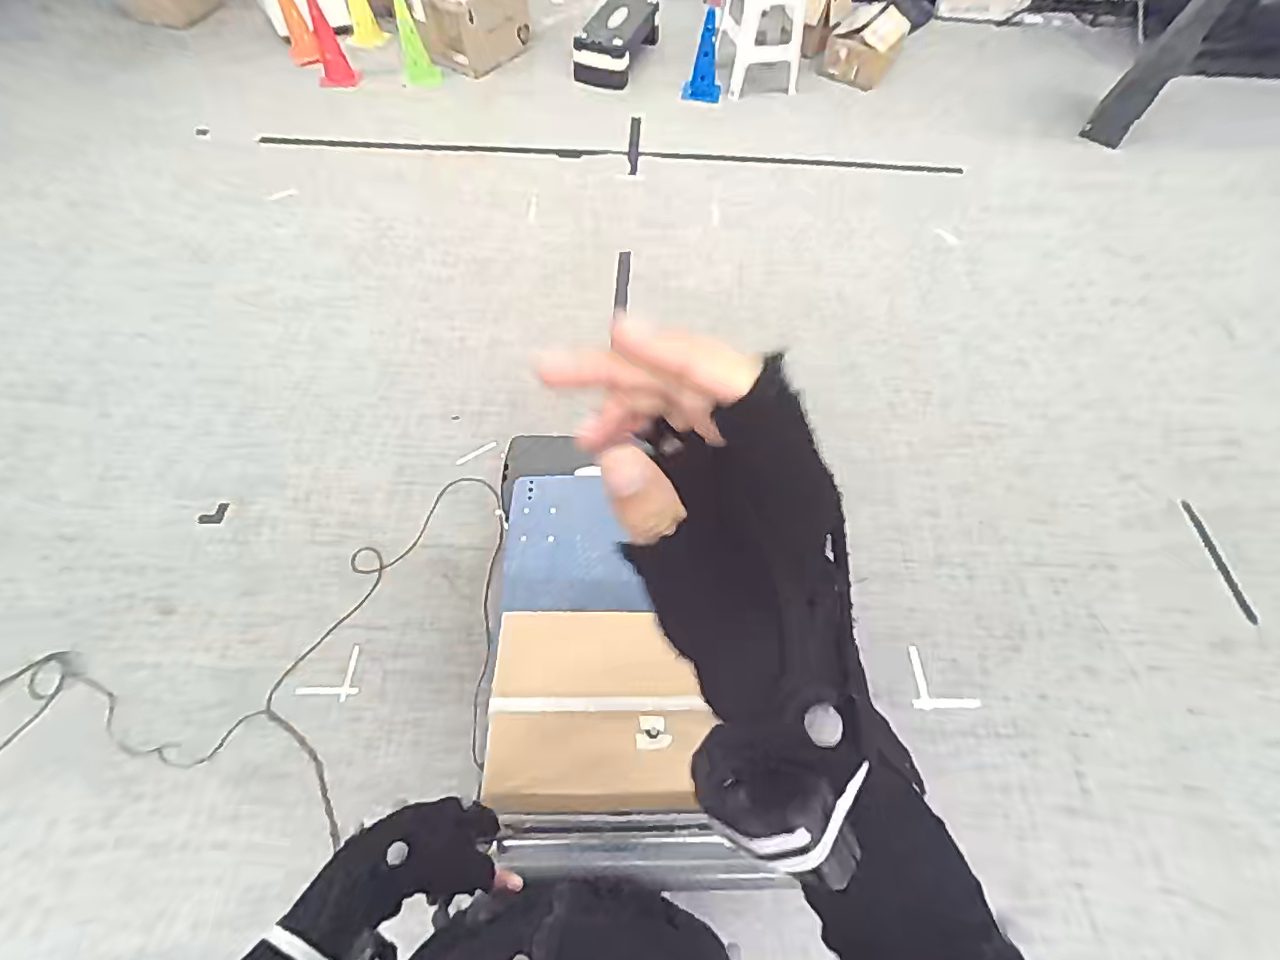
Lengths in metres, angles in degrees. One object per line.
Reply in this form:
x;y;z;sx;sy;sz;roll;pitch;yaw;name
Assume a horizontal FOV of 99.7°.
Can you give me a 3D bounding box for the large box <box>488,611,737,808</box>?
-0.054;0.454;1.054;0.408;0.320;0.320;1;60;-3;large box
